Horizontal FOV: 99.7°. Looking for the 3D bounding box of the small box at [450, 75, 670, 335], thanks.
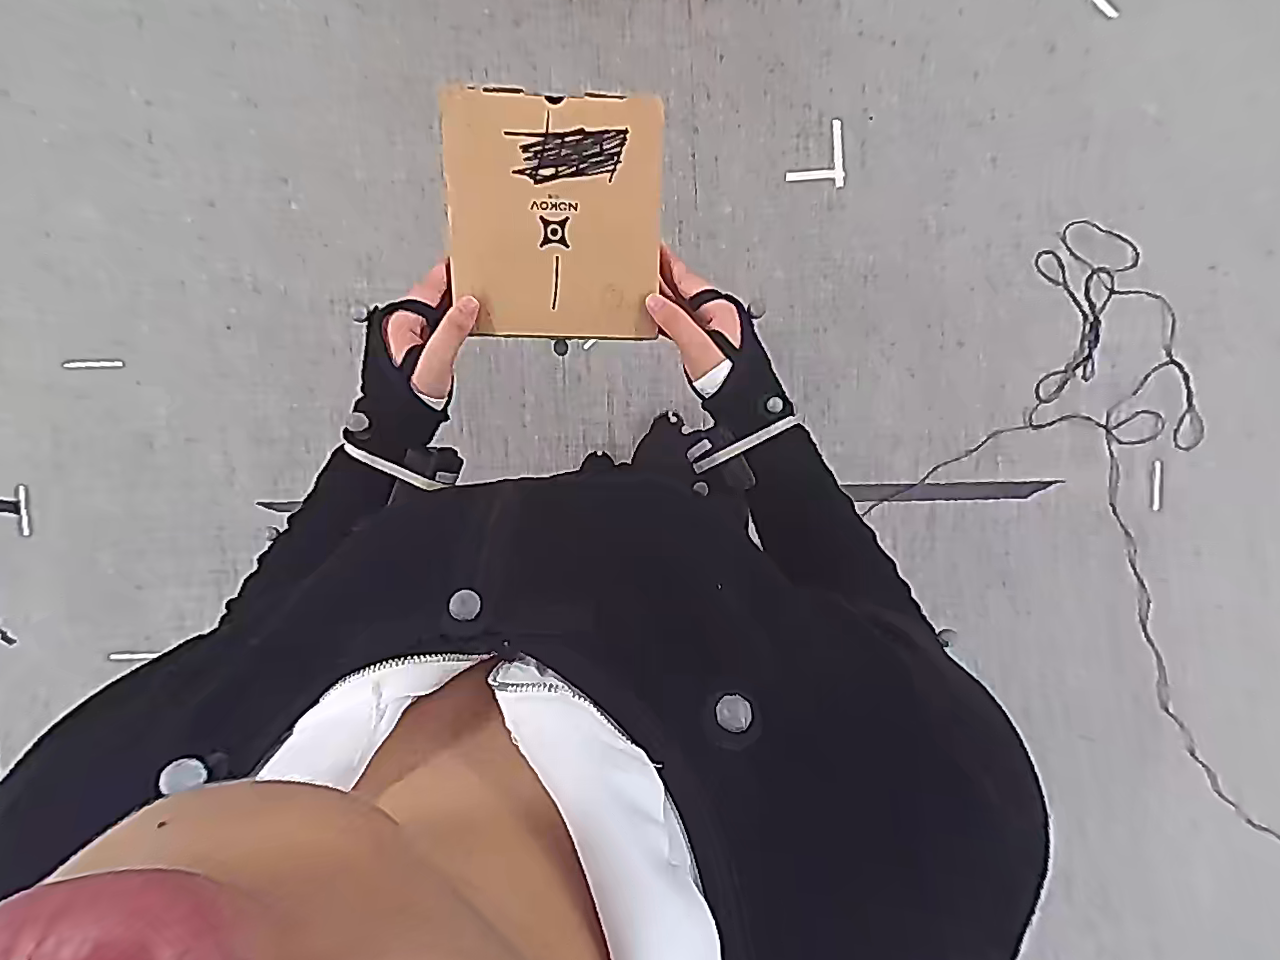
[{"bbox_3d":[-0.068,-0.229,0.497,0.168,0.176,0.179,1,104,-4],"label":"small box"}]
